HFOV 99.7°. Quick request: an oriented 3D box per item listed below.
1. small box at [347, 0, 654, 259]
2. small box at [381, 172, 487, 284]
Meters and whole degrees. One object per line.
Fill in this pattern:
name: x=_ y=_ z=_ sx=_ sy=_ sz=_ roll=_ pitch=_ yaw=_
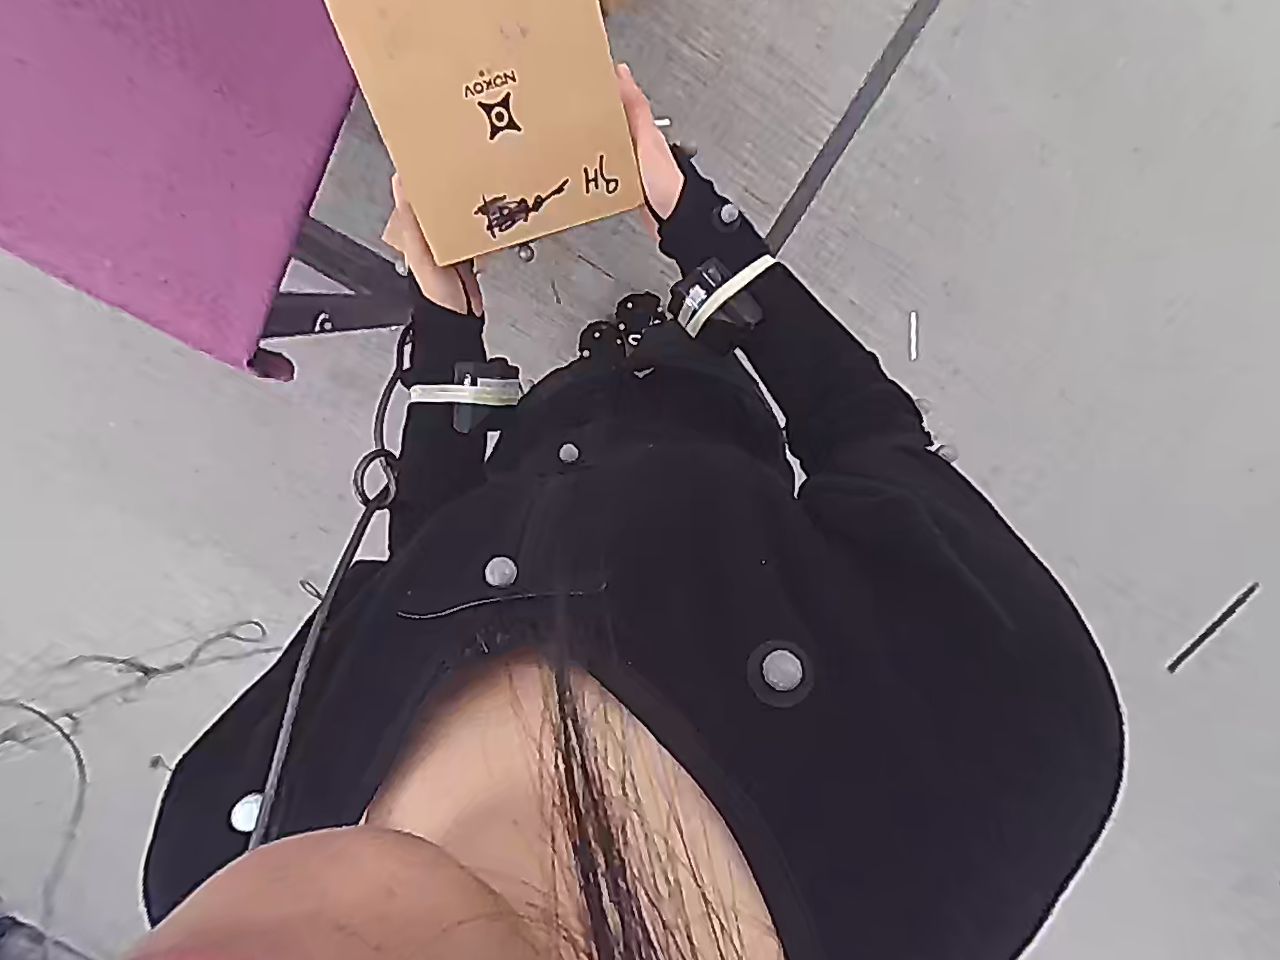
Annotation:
small box: x=-0.093 y=-0.292 z=0.433 sx=0.168 sy=0.176 sz=0.179 roll=-14 pitch=118 yaw=3
small box: x=-0.450 y=-0.573 z=1.248 sx=0.179 sy=0.176 sz=0.168 roll=31 pitch=105 yaw=-9
